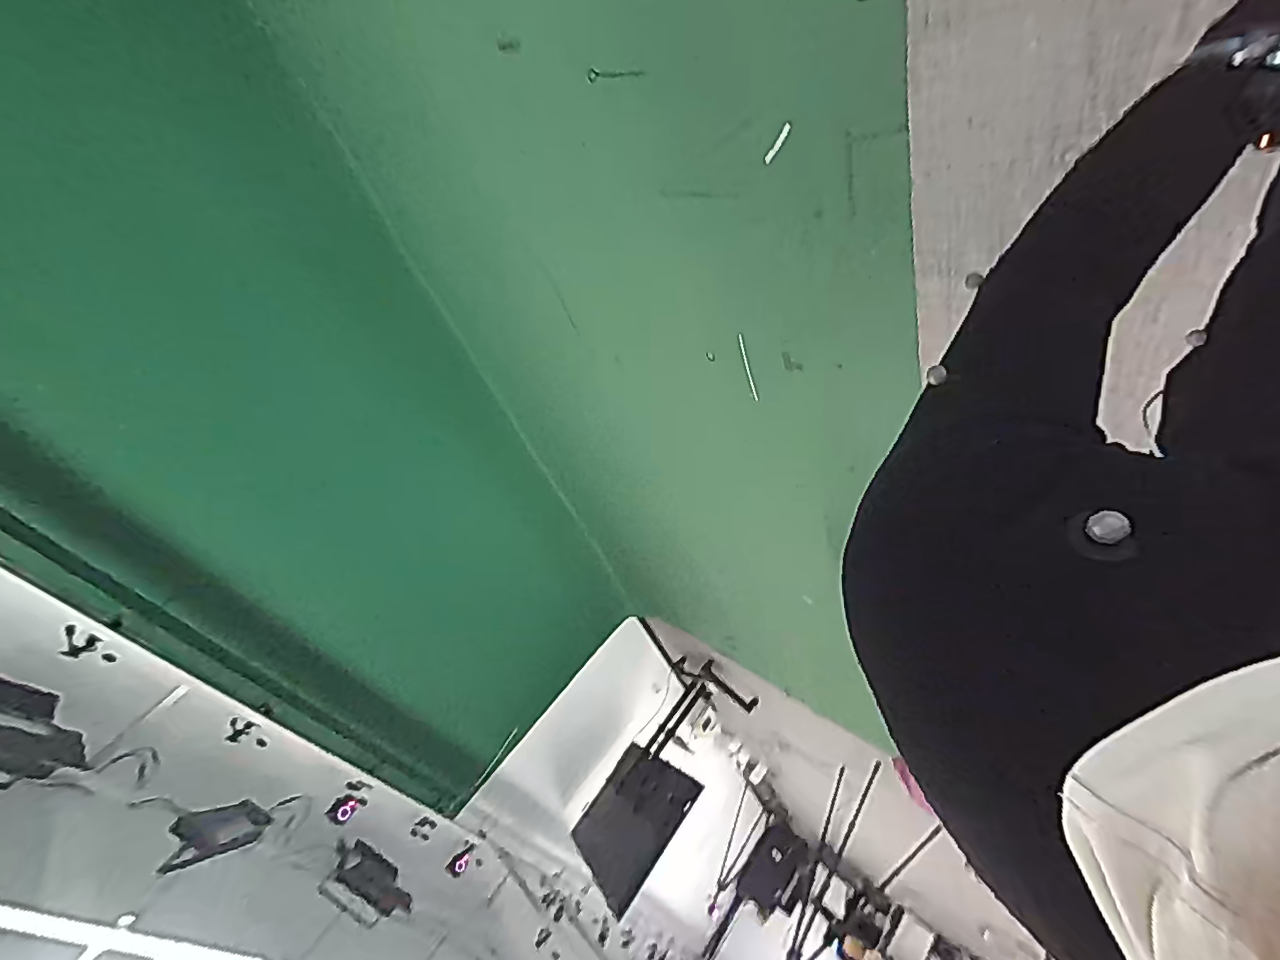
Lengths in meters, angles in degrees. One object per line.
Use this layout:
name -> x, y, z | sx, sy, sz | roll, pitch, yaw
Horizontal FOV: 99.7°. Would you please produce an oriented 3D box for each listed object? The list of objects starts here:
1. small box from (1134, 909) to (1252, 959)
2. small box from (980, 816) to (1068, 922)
small box -> 1.347, 1.203, 1.329 | 0.179, 0.176, 0.168 | 16, 144, 47
small box -> 1.114, 1.125, 1.571 | 0.168, 0.176, 0.179 | 20, 147, 42
